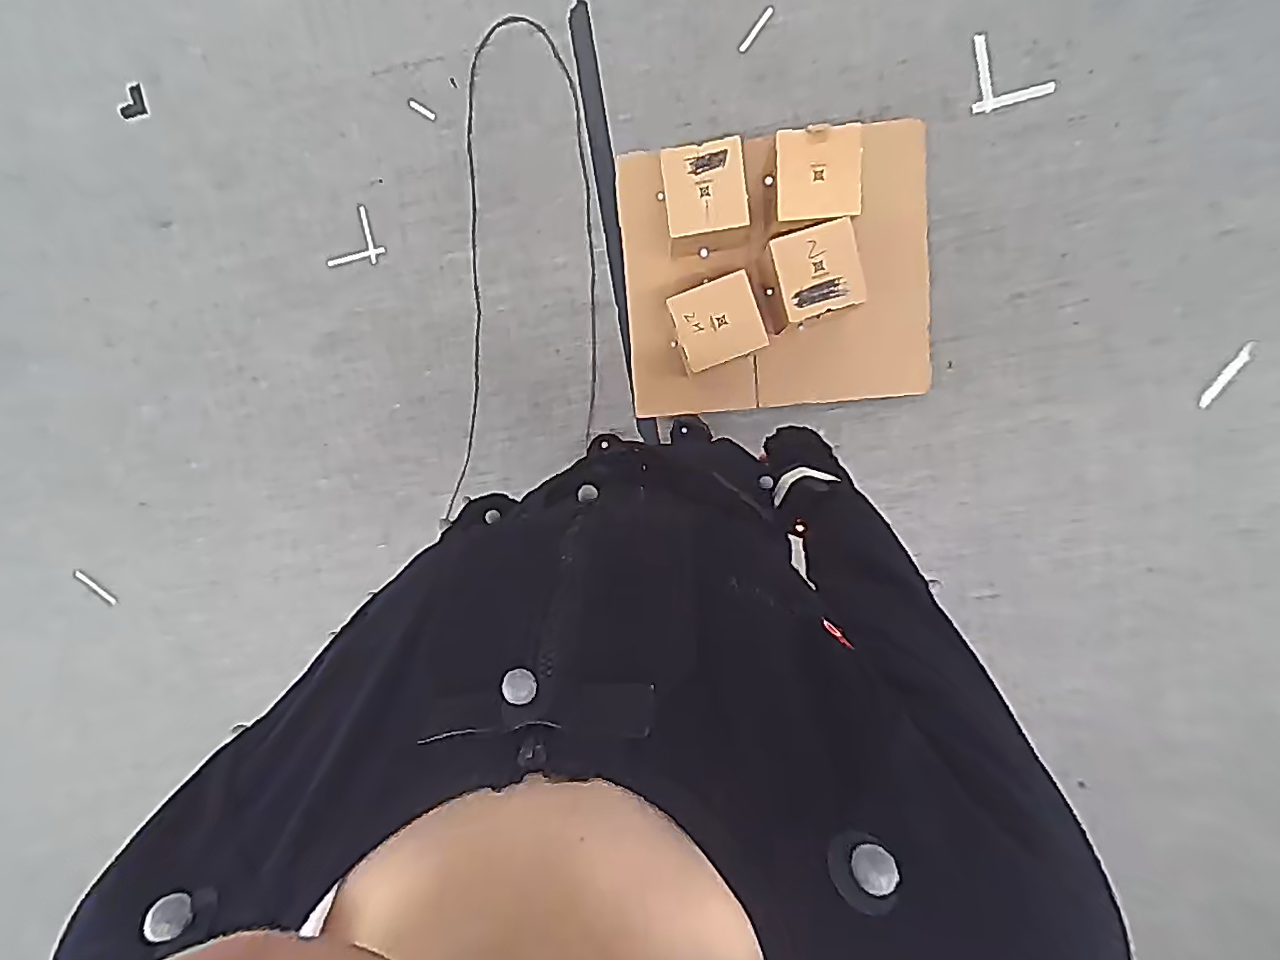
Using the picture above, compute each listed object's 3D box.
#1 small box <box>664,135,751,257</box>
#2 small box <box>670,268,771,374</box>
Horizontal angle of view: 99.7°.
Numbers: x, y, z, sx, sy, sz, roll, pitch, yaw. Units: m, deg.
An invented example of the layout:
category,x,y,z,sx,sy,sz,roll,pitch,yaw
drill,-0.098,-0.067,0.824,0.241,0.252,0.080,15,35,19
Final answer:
category,x,y,z,sx,sy,sz,roll,pitch,yaw
small box,0.141,-0.610,1.179,0.168,0.176,0.179,-7,97,5
small box,0.172,-0.346,1.210,0.179,0.176,0.168,-19,95,6
